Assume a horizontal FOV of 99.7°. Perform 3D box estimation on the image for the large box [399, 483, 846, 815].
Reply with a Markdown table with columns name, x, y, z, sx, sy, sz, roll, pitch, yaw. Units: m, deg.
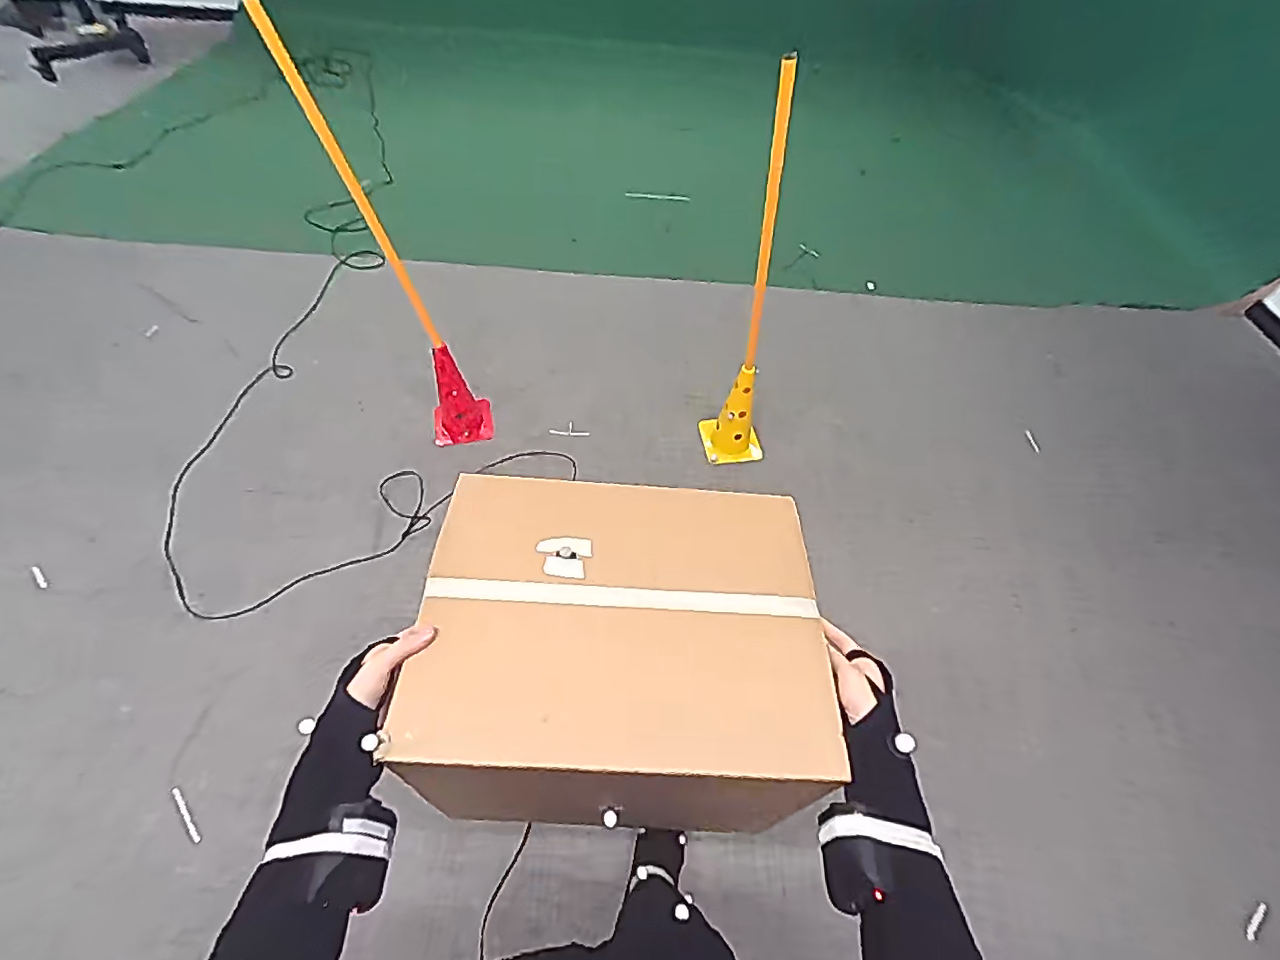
| name | x | y | z | sx | sy | sz | roll | pitch | yaw |
| --- | --- | --- | --- | --- | --- | --- | --- | --- | --- |
| large box | -0.018 | 0.224 | 0.684 | 0.408 | 0.320 | 0.320 | 3 | 49 | -2 |
